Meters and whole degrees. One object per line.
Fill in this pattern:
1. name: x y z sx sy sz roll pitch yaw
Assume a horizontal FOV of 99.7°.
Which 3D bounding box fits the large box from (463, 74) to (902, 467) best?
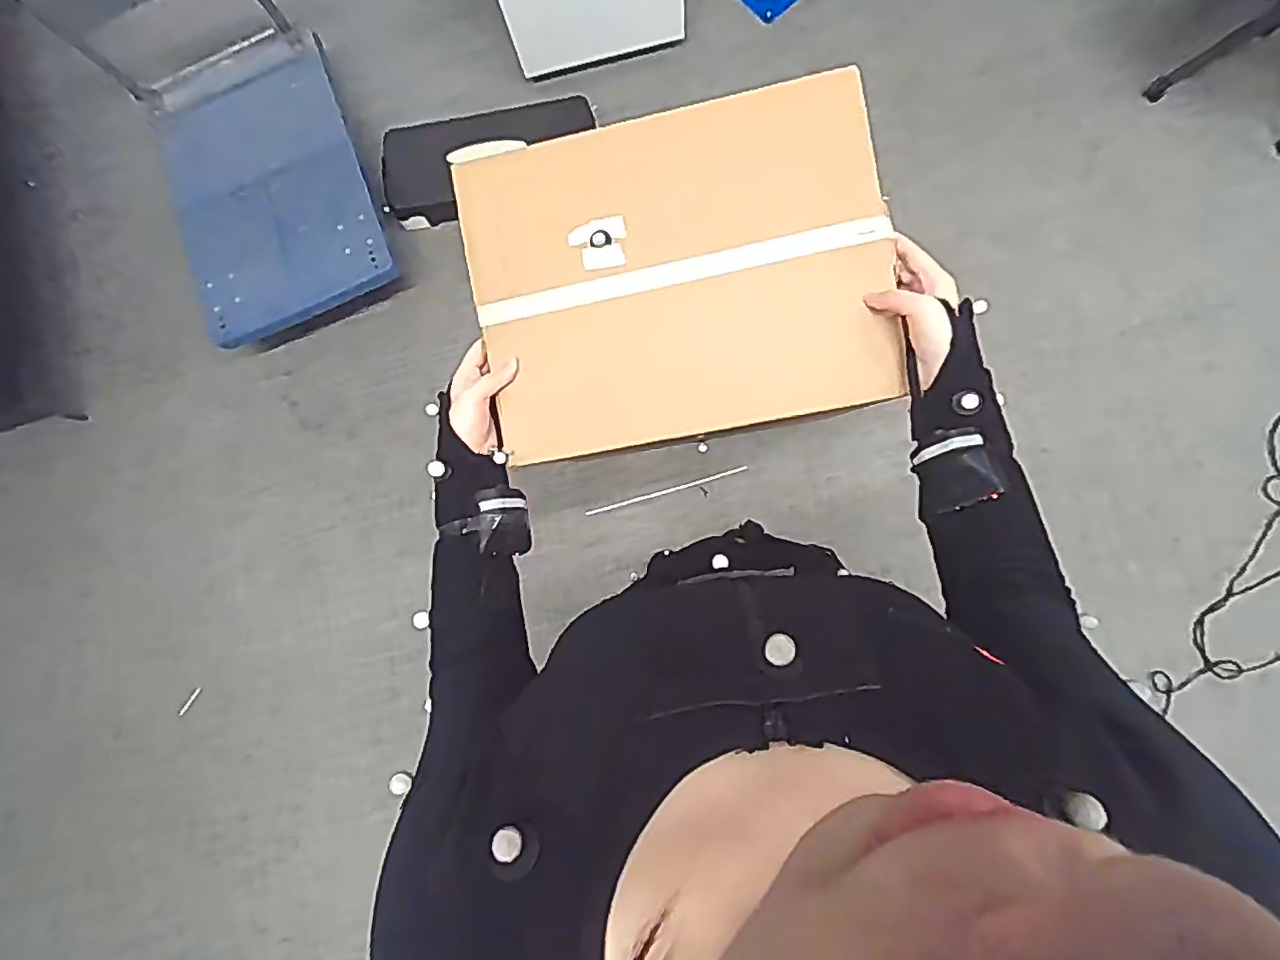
1. large box: 0.054 -0.210 0.691 0.408 0.320 0.320 -10 91 8
